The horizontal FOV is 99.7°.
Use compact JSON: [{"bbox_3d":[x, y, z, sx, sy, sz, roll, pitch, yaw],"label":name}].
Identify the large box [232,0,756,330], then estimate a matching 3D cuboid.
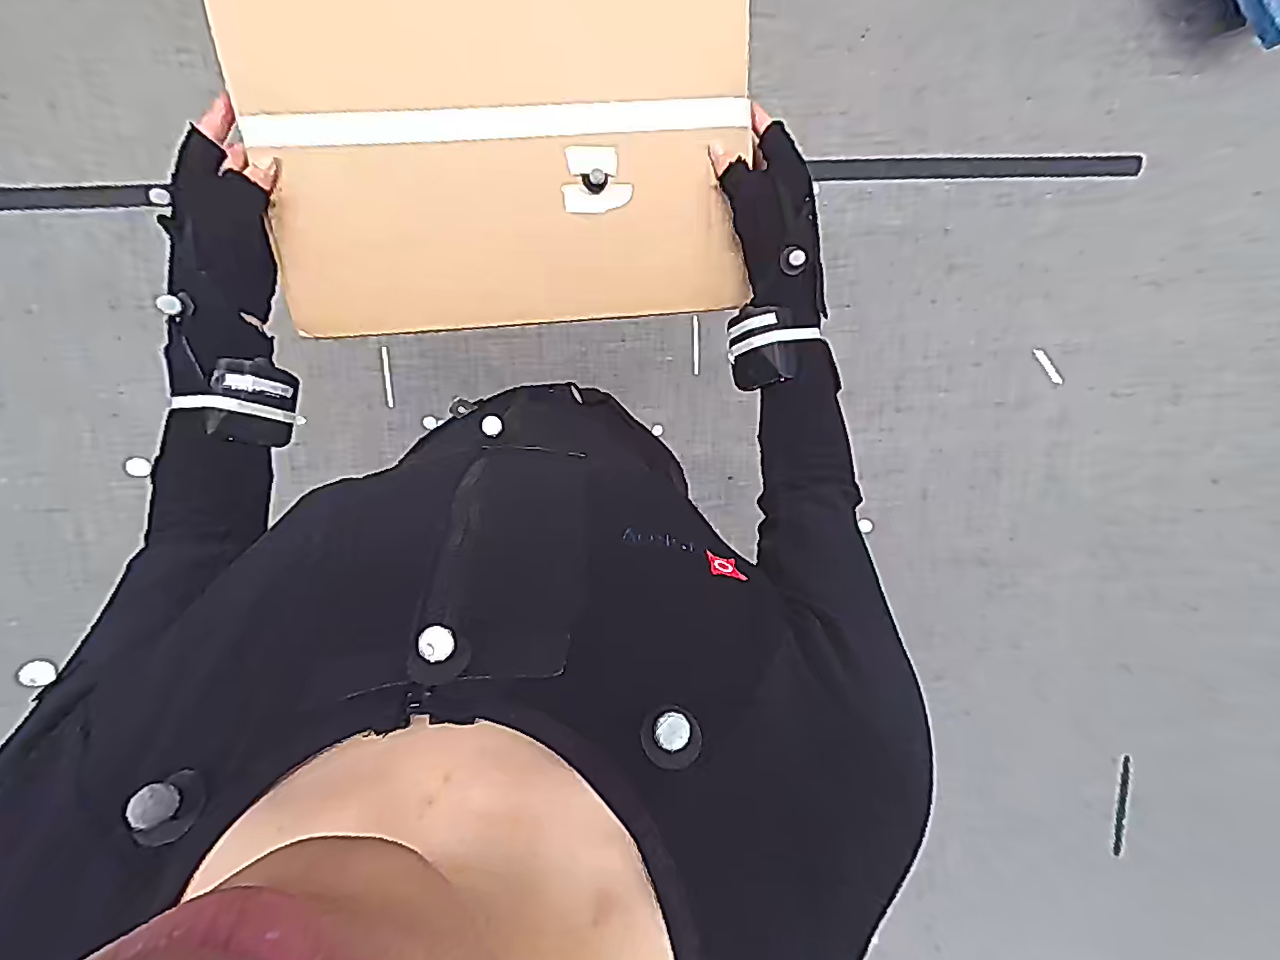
[{"bbox_3d":[-0.119,-0.345,0.581,0.408,0.320,0.320,-6,110,-7],"label":"large box"}]
